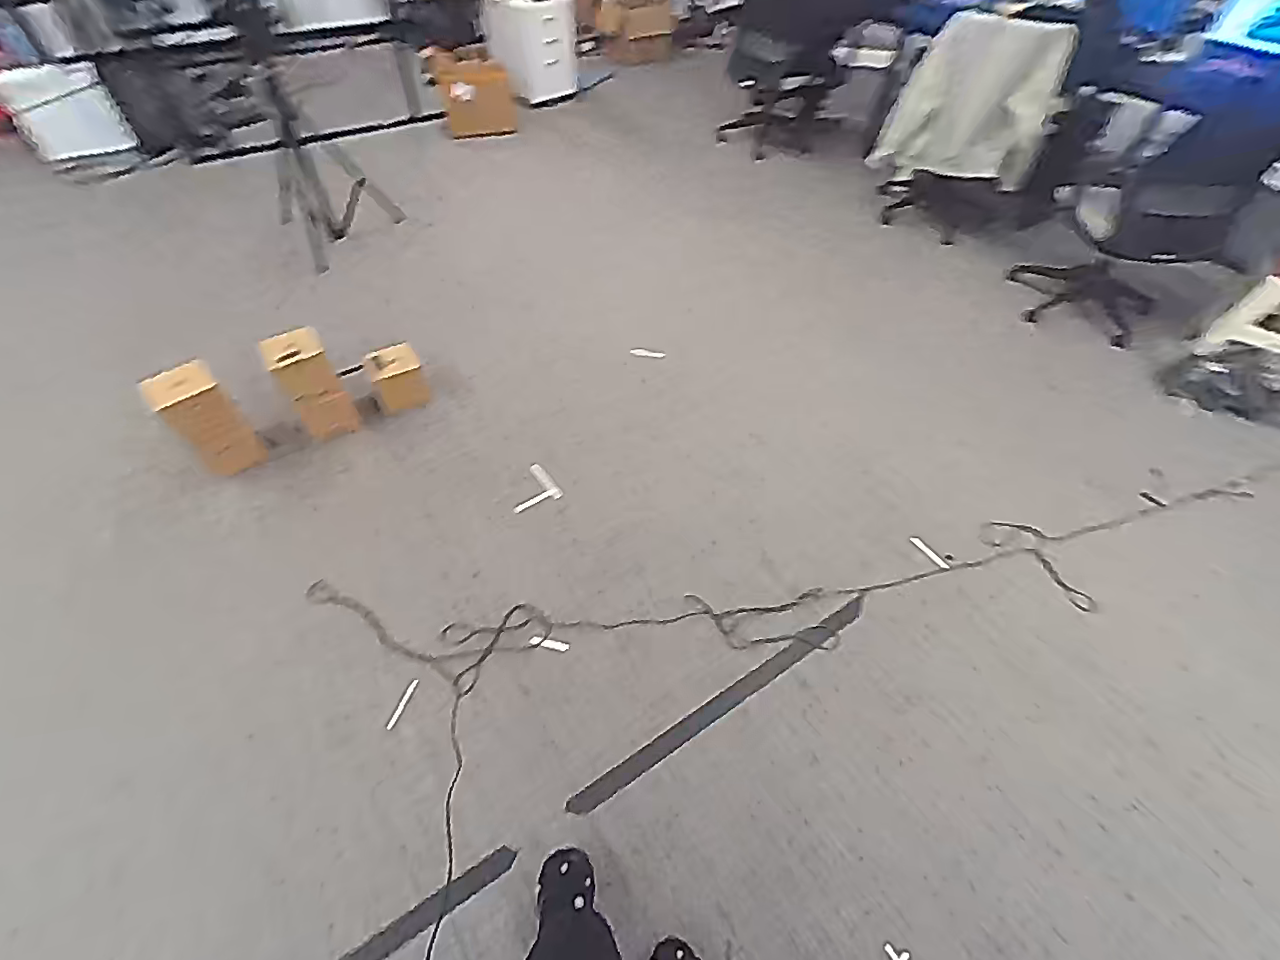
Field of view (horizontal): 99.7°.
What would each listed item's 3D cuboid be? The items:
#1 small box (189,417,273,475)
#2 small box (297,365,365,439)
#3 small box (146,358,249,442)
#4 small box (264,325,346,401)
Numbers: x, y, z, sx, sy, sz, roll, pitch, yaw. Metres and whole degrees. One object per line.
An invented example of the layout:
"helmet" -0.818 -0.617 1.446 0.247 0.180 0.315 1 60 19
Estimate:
"small box" -1.405 -0.147 1.845 0.168 0.176 0.179 38 61 24
"small box" -1.126 -0.281 1.959 0.168 0.176 0.179 -25 57 -19
"small box" -1.399 -0.251 1.719 0.179 0.176 0.168 -36 62 -28
"small box" -1.130 -0.388 1.834 0.168 0.176 0.179 -27 56 -22
